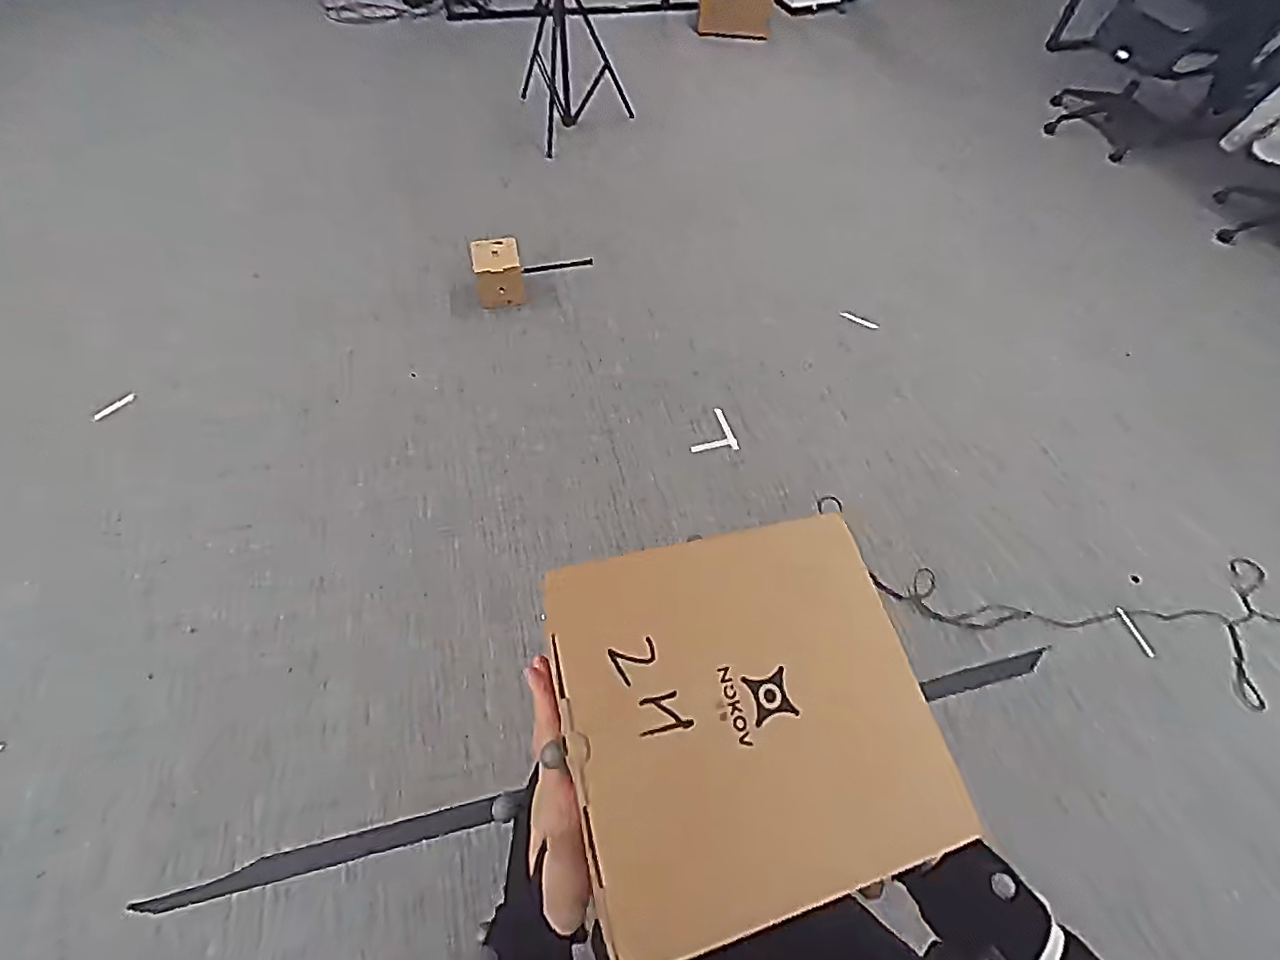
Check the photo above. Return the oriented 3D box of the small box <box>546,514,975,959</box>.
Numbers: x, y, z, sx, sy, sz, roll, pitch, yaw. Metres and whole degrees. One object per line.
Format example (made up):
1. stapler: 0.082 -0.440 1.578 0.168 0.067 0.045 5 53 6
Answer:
1. small box: 0.042 0.139 0.330 0.179 0.176 0.168 -11 65 -13

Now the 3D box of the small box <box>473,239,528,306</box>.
1. small box: -0.524 -0.778 2.042 0.168 0.176 0.179 -10 61 -9
